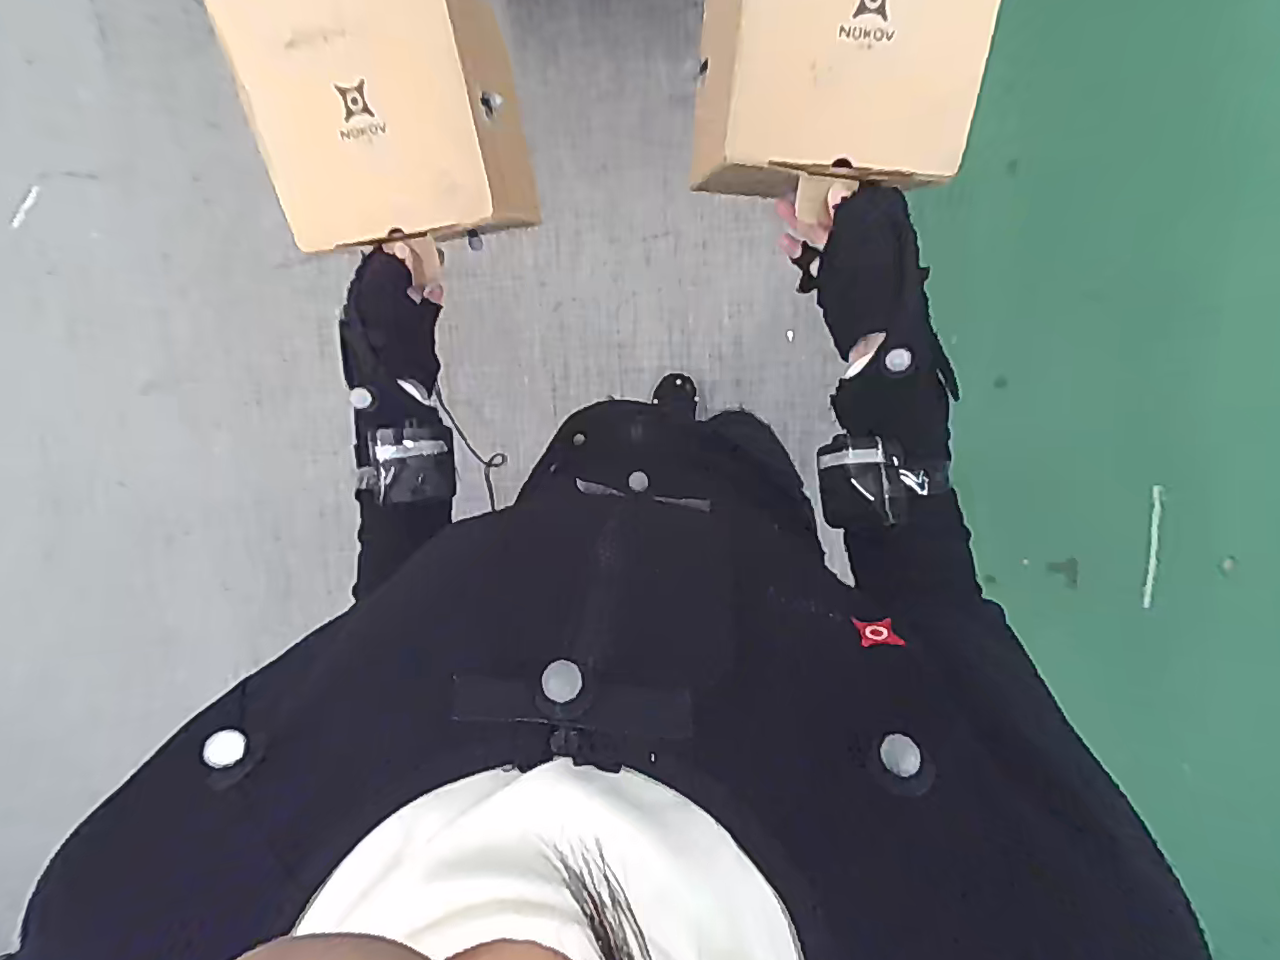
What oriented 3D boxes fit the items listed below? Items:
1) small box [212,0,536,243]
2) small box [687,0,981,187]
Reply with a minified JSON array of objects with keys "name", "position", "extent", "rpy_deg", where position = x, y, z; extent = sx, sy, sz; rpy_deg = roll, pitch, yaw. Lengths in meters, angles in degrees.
[{"name":"small box","position":[-0.200,-0.313,0.466],"extent":[0.168,0.176,0.179],"rpy_deg":[-8,113,6]},{"name":"small box","position":[0.132,-0.333,0.416],"extent":[0.168,0.176,0.179],"rpy_deg":[2,114,-4]}]
